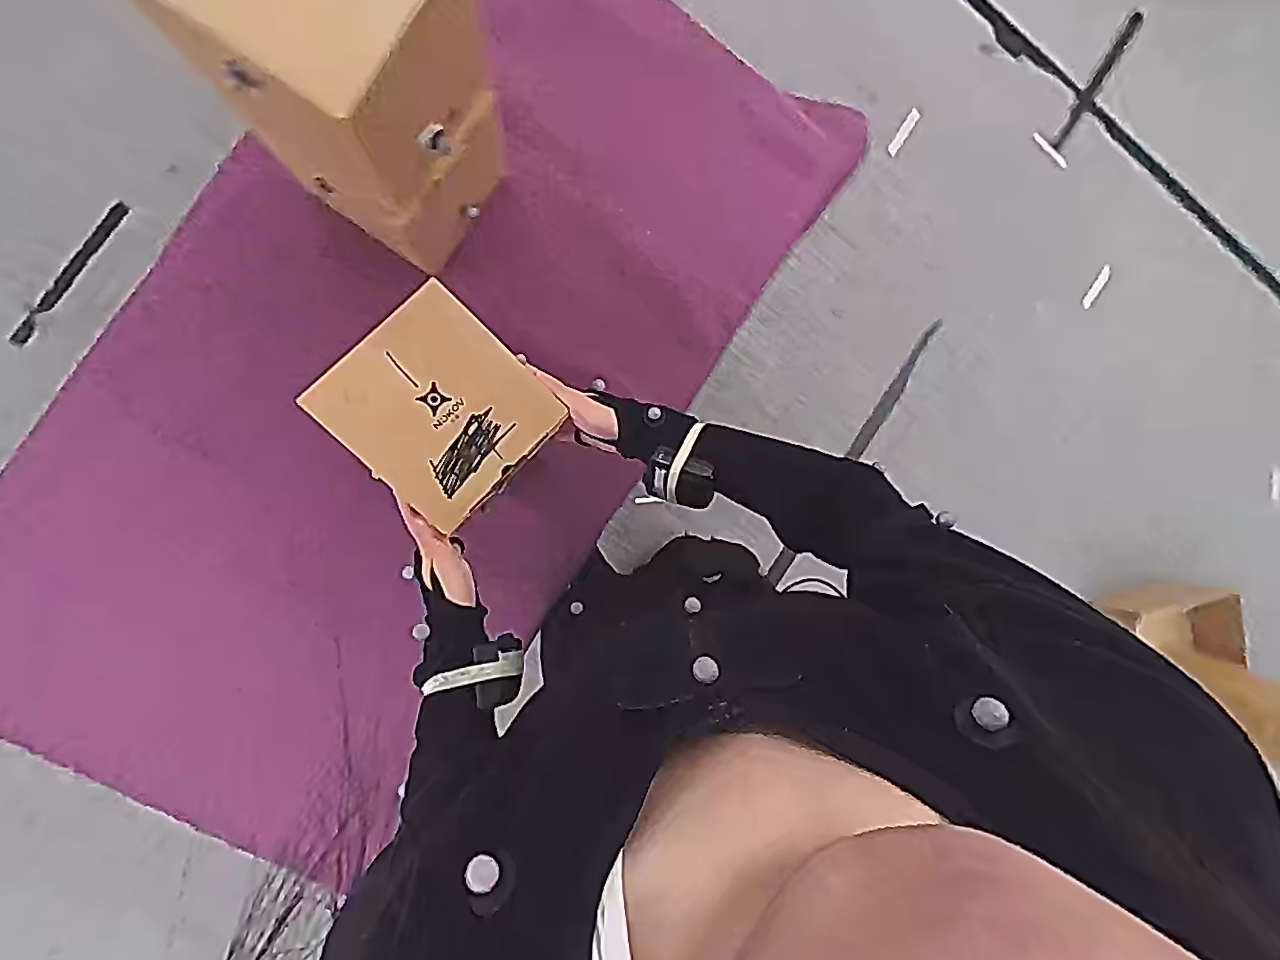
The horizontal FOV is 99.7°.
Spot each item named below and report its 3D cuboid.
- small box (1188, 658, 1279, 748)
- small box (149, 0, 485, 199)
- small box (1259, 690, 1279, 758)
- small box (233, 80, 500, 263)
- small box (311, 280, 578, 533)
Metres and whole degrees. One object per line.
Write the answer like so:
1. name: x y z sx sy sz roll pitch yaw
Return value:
1. small box: 1.735 0.633 1.554 0.179 0.176 0.168 -7 96 -10
2. small box: -0.244 -0.365 0.428 0.179 0.176 0.168 31 89 -12
3. small box: 1.775 0.650 1.397 0.179 0.176 0.168 -8 96 -10
4. small box: -0.272 -0.369 0.588 0.179 0.176 0.168 33 89 -12
5. small box: -0.188 -0.067 0.570 0.179 0.176 0.168 46 81 -8
